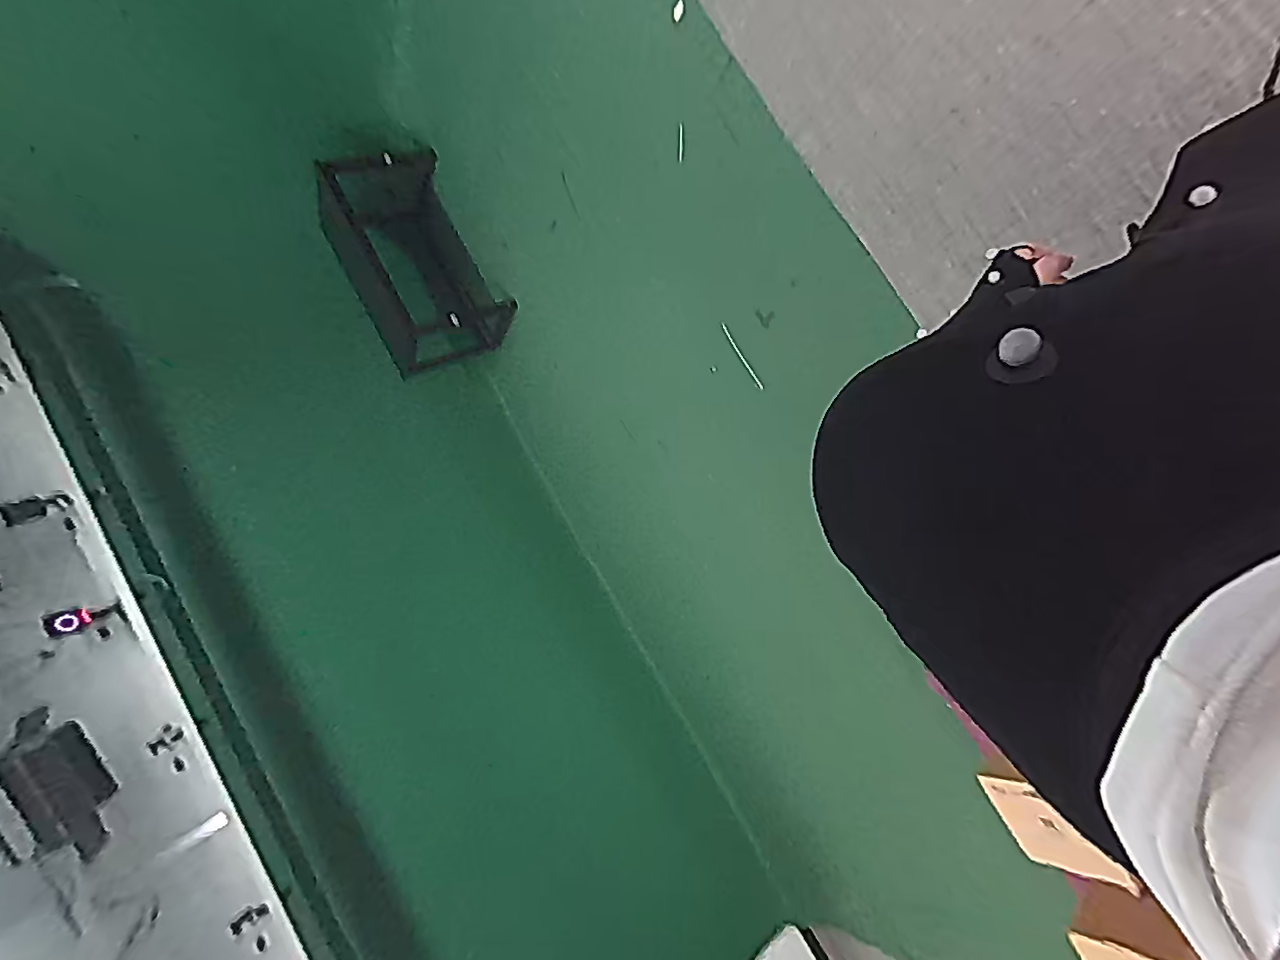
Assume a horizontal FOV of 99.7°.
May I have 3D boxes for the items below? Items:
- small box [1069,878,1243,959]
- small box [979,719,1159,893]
[{"bbox_3d":[0.893,0.824,0.921,0.179,0.176,0.168,61,147,5],"label":"small box"},{"bbox_3d":[0.743,0.548,0.936,0.179,0.176,0.168,58,147,3],"label":"small box"}]
